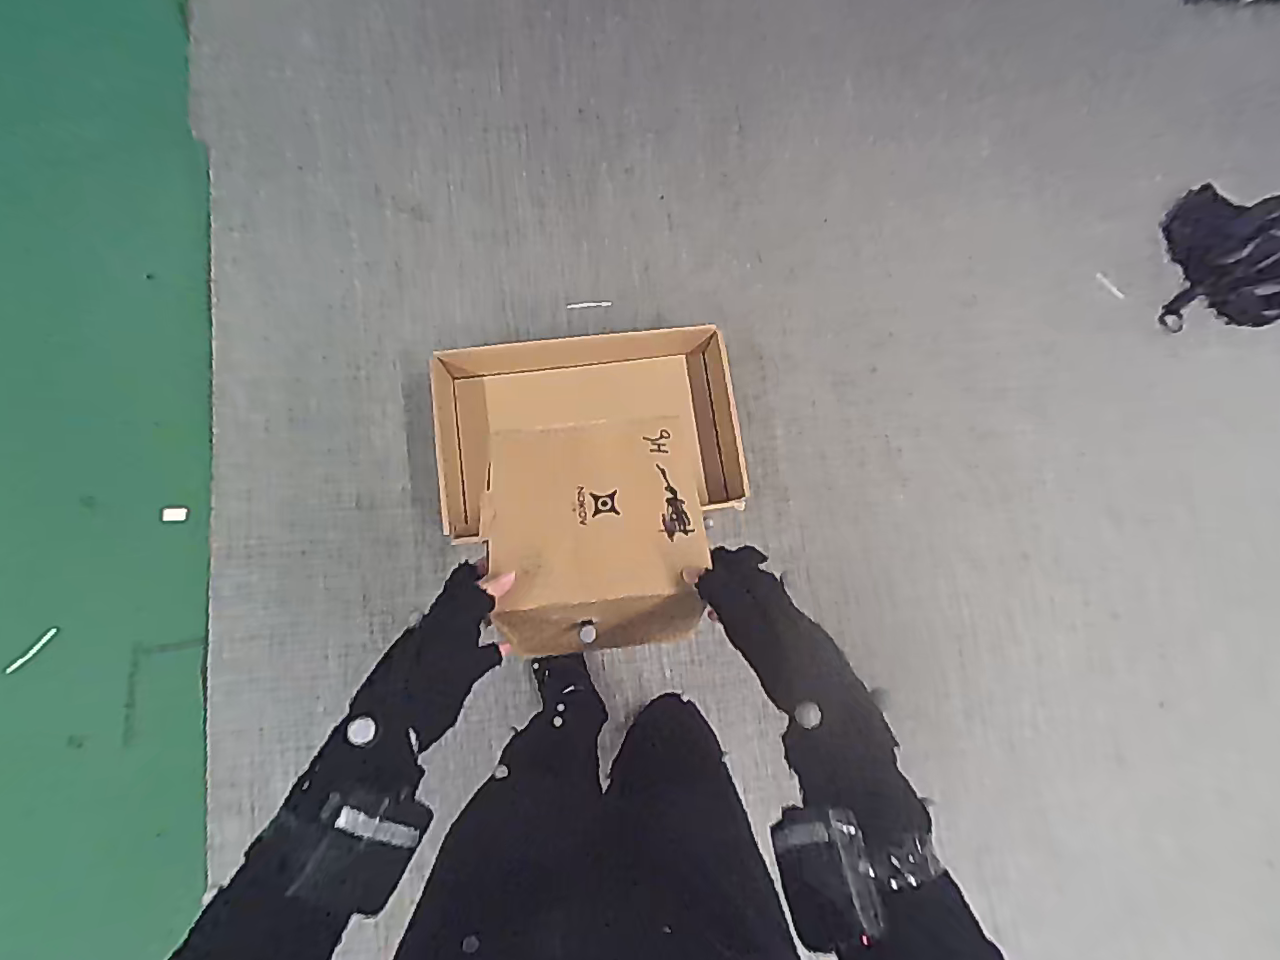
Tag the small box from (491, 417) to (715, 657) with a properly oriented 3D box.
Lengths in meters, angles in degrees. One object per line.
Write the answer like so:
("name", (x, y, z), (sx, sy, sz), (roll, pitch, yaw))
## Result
("small box", (-0.039, 0.062, 0.527), (0.179, 0.176, 0.168), (-8, 59, -7))
